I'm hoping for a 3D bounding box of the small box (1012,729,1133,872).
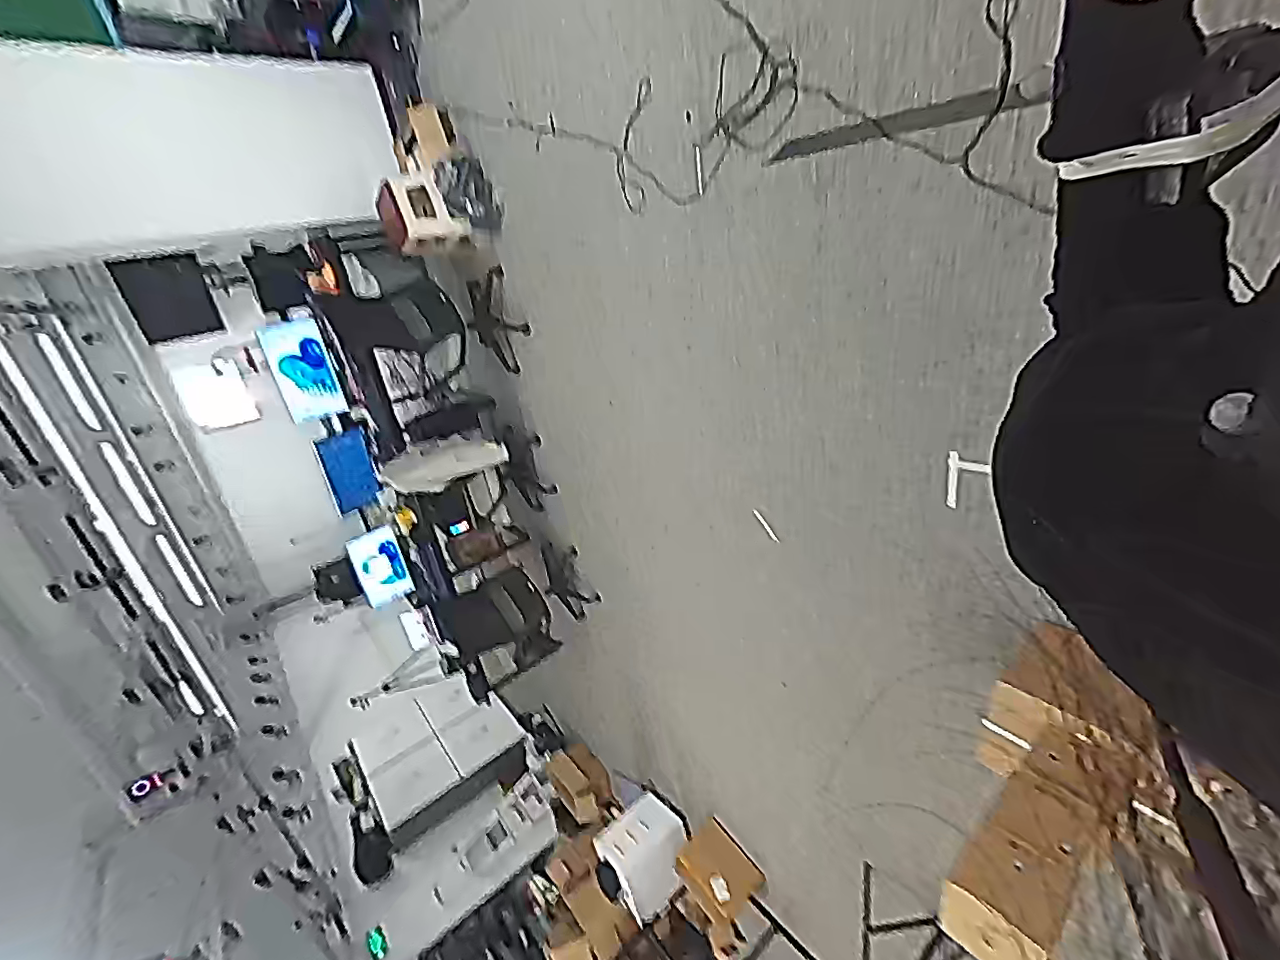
[{"bbox_3d":[0.960,0.698,1.201,0.168,0.176,0.179,17,126,50],"label":"small box"}]

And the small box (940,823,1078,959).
[{"bbox_3d":[0.702,0.818,1.034,0.168,0.176,0.179,19,127,48],"label":"small box"}]
